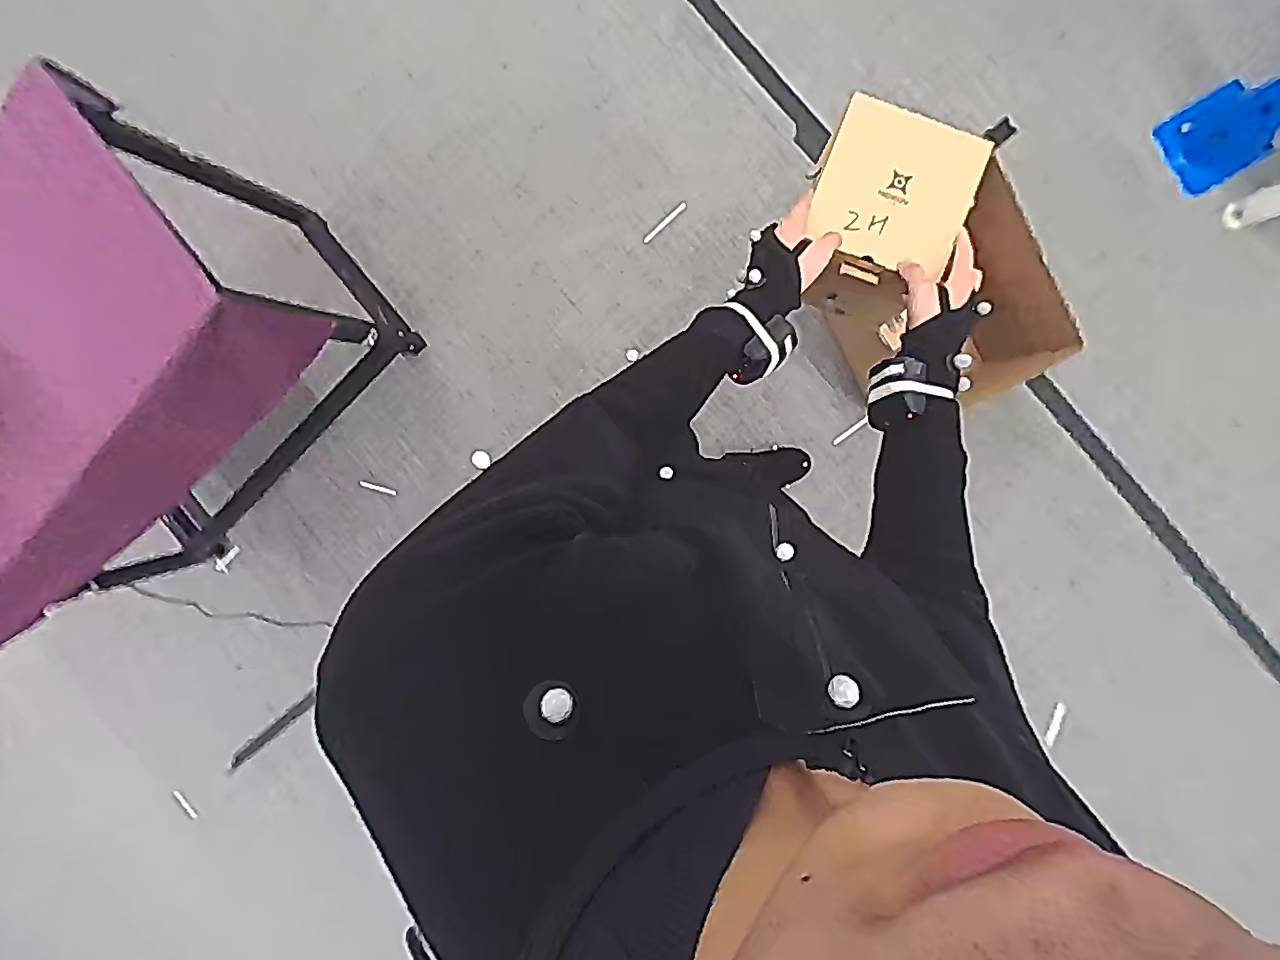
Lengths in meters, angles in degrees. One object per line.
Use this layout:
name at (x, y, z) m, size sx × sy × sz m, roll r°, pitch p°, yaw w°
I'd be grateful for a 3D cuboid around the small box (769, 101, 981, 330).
small box at (0.278, -0.317, 0.683) m, size 0.168 × 0.176 × 0.179 m, roll 21°, pitch 90°, yaw 3°
